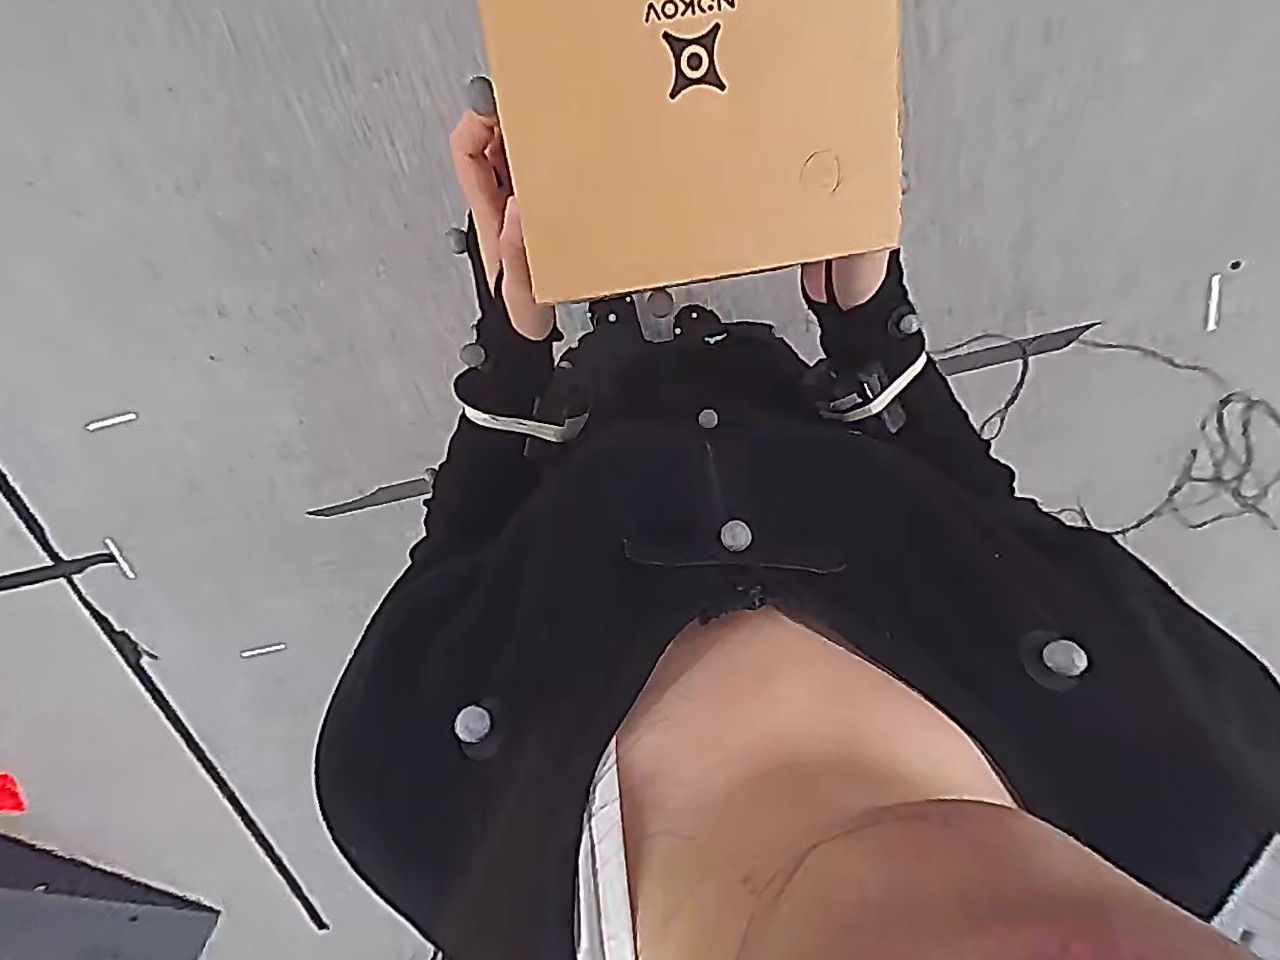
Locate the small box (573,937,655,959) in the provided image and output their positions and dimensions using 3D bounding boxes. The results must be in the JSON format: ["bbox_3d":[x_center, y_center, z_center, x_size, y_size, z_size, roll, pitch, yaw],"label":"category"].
[{"bbox_3d":[-0.046,1.055,1.069,0.168,0.176,0.179,-8,110,3],"label":"small box"}]

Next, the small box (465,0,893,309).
[{"bbox_3d":[0.016,-0.195,0.289,0.168,0.176,0.179,-9,108,2],"label":"small box"}]
